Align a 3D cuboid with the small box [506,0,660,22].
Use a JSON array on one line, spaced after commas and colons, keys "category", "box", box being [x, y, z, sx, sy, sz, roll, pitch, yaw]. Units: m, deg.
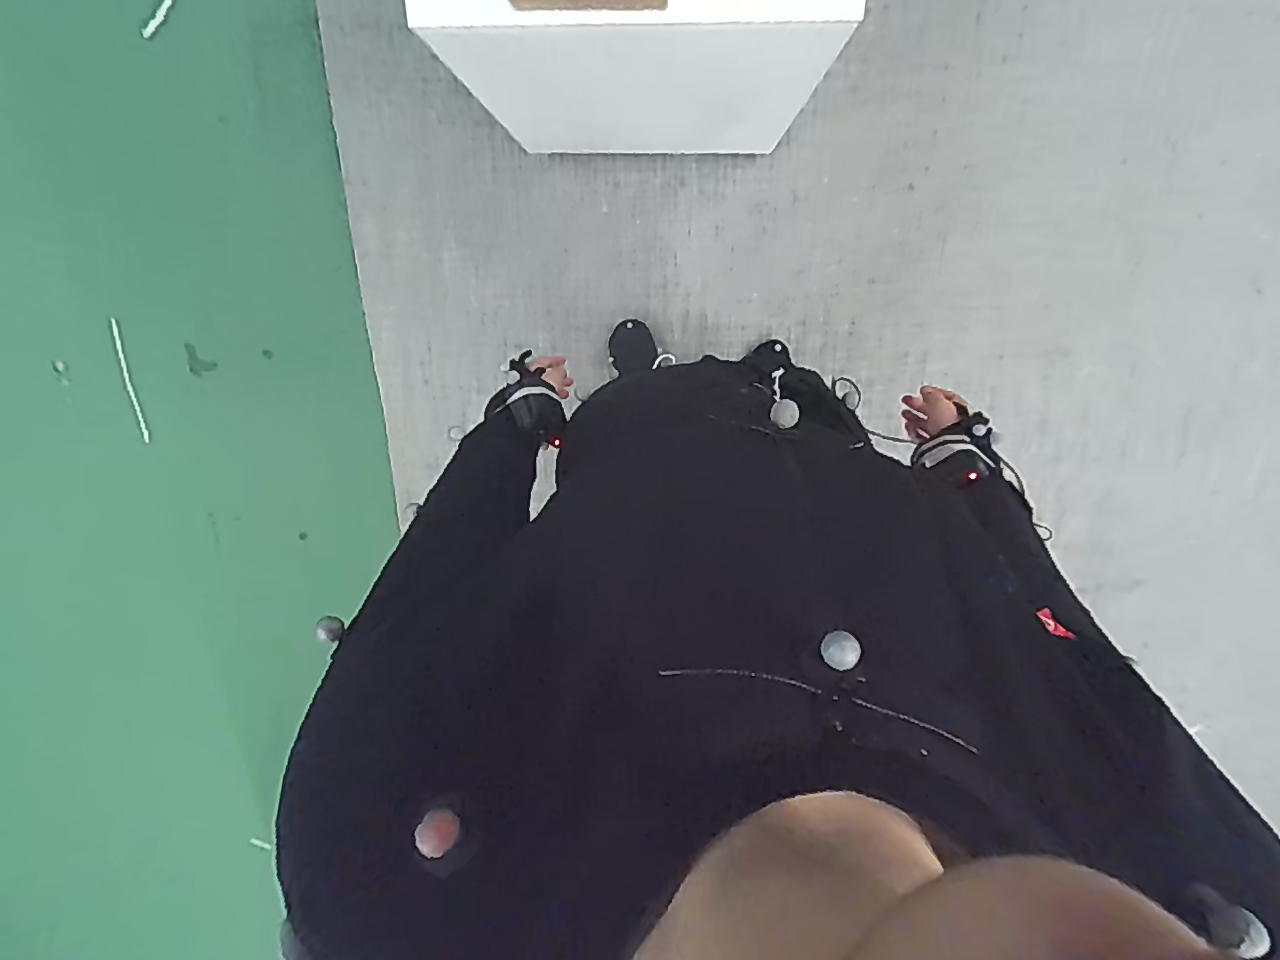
[{"category": "small box", "box": [-0.057, -0.563, 0.499, 0.179, 0.176, 0.168, 2, 106, 3]}]
